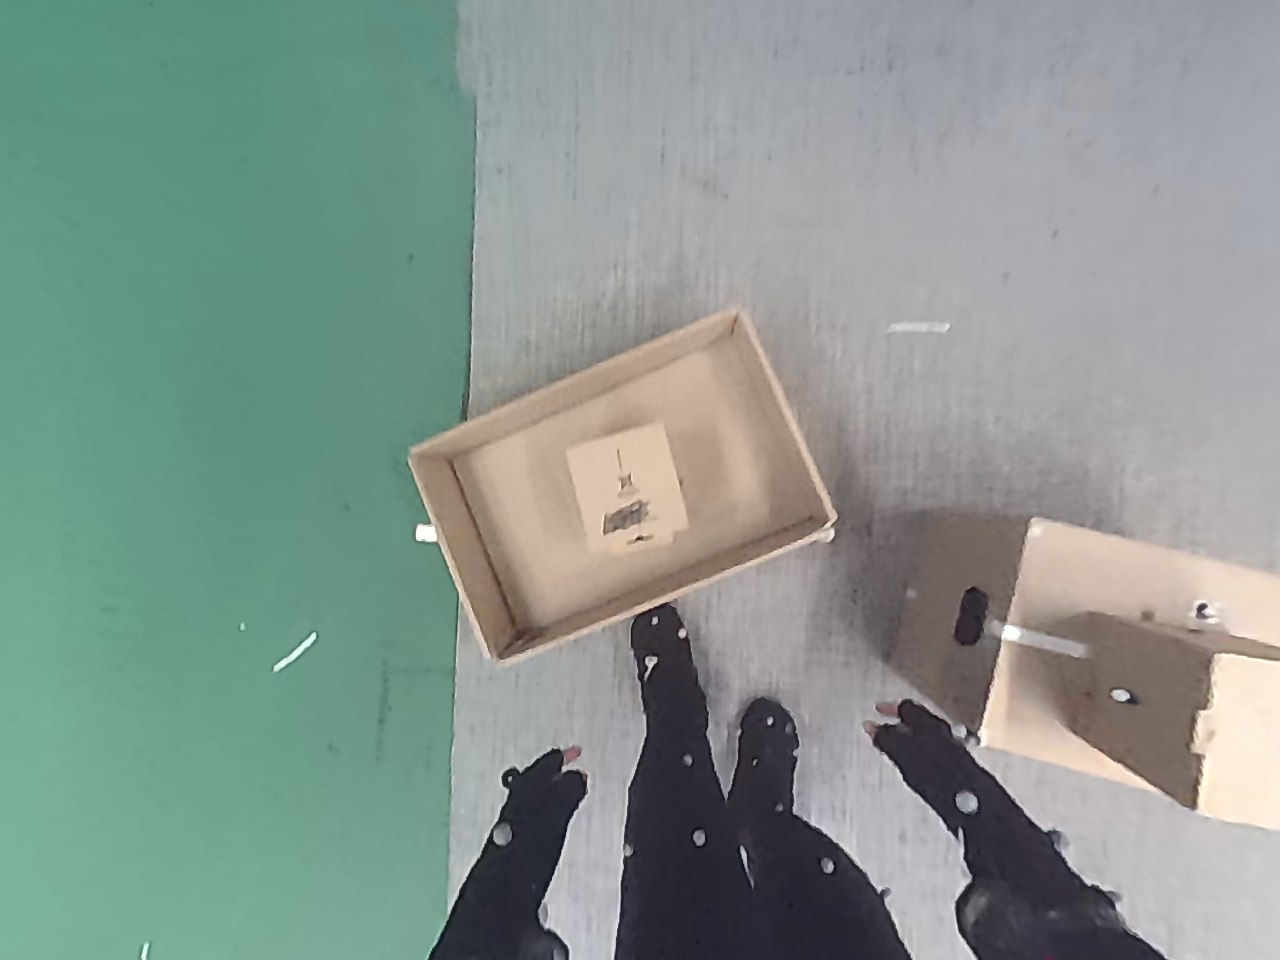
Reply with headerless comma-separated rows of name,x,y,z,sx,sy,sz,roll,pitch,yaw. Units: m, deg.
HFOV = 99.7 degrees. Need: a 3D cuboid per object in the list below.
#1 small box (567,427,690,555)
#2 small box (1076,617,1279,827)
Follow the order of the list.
small box,-0.012,0.021,0.939,0.168,0.176,0.179,-15,86,5
small box,0.646,0.263,0.612,0.179,0.176,0.168,8,90,5
